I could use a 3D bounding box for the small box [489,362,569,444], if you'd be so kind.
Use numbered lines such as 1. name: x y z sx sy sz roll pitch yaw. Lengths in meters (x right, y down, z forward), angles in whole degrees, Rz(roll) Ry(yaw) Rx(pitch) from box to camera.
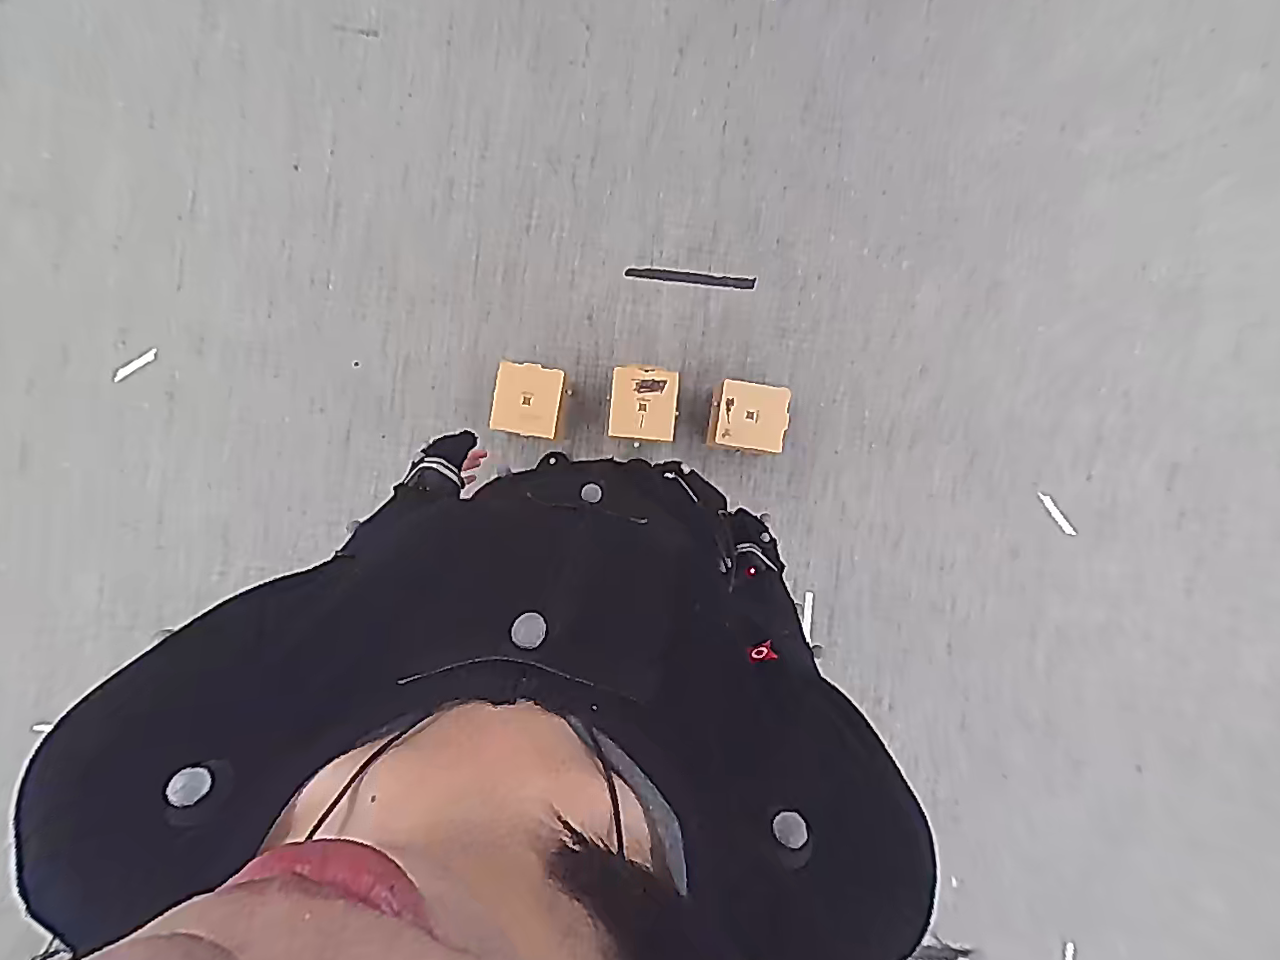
1. small box: -0.285 -0.196 1.423 0.168 0.176 0.179 9 92 -1

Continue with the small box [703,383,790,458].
1. small box: 0.277 -0.154 1.442 0.179 0.176 0.168 9 91 -3

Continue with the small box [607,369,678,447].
1. small box: 0.002 -0.184 1.430 0.168 0.176 0.179 5 92 -2
